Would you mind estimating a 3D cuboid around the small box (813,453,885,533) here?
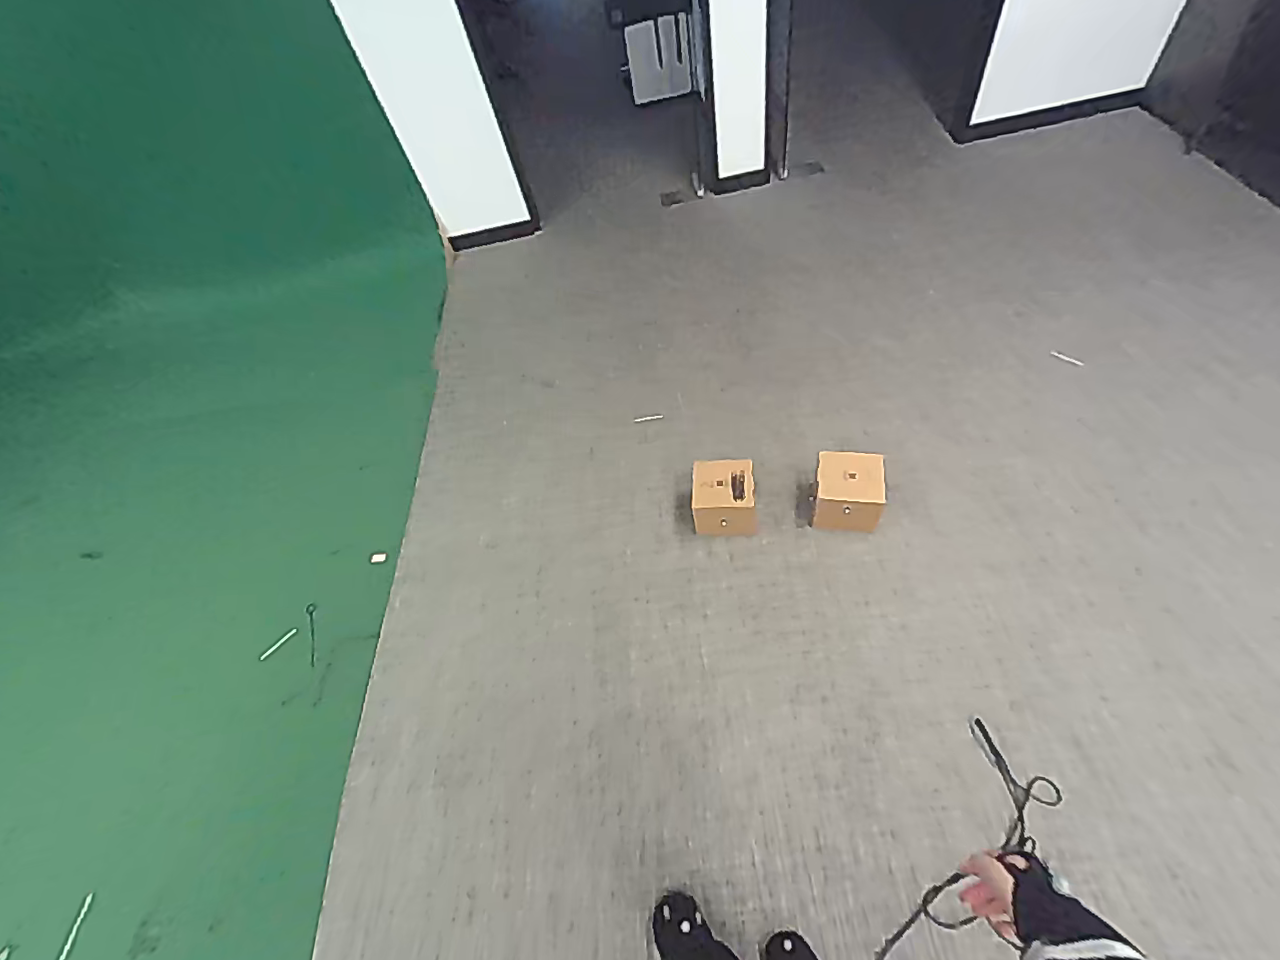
[{"bbox_3d":[0.598,0.039,1.562,0.179,0.176,0.168,5,57,15],"label":"small box"}]
